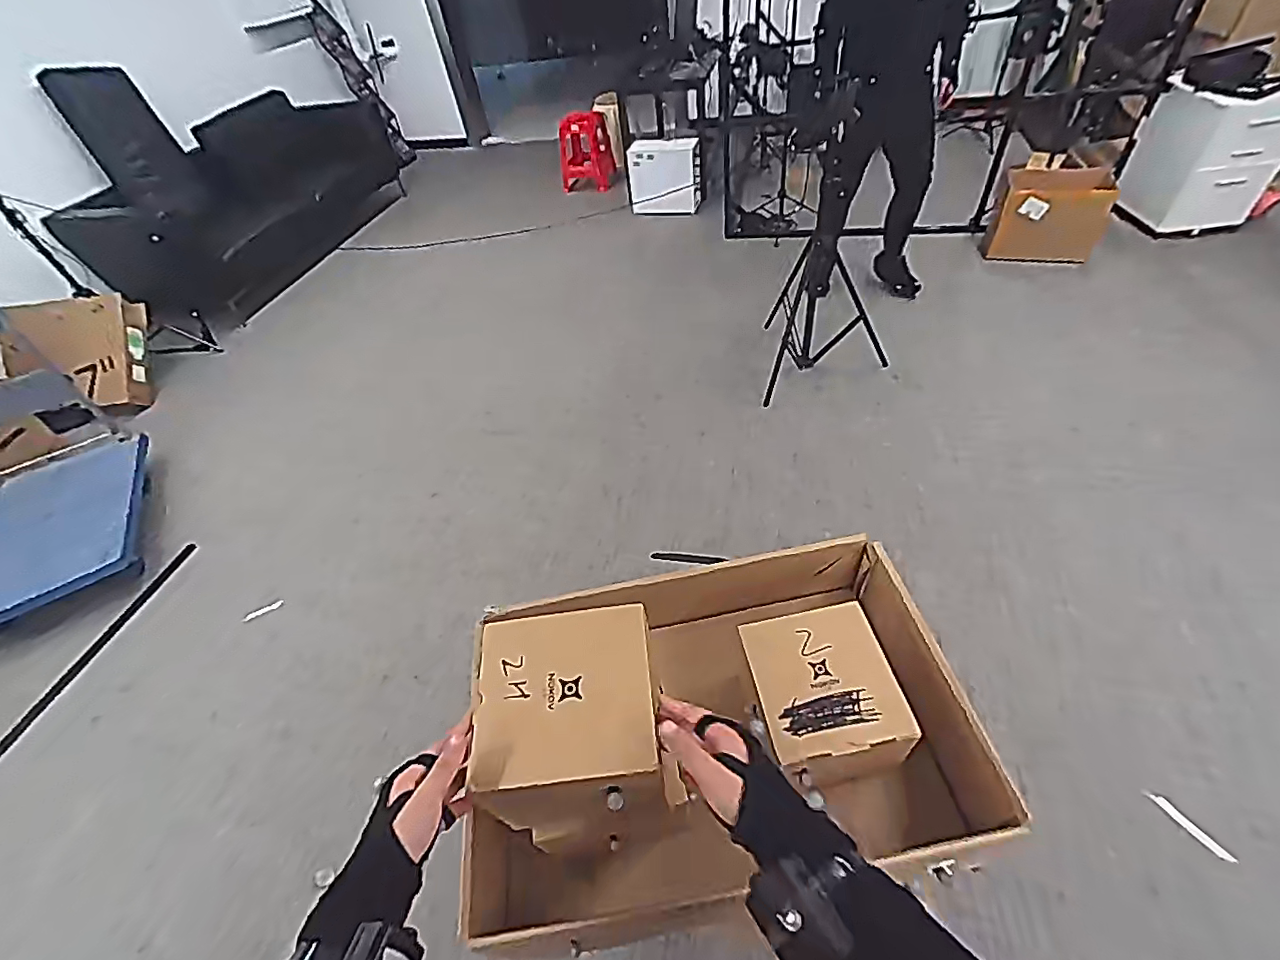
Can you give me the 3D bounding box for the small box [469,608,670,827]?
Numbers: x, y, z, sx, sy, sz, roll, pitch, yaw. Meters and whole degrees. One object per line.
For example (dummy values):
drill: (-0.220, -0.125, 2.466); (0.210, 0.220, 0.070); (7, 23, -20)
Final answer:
small box: (-0.063, 0.260, 0.586); (0.179, 0.176, 0.168); (-8, 47, 2)
